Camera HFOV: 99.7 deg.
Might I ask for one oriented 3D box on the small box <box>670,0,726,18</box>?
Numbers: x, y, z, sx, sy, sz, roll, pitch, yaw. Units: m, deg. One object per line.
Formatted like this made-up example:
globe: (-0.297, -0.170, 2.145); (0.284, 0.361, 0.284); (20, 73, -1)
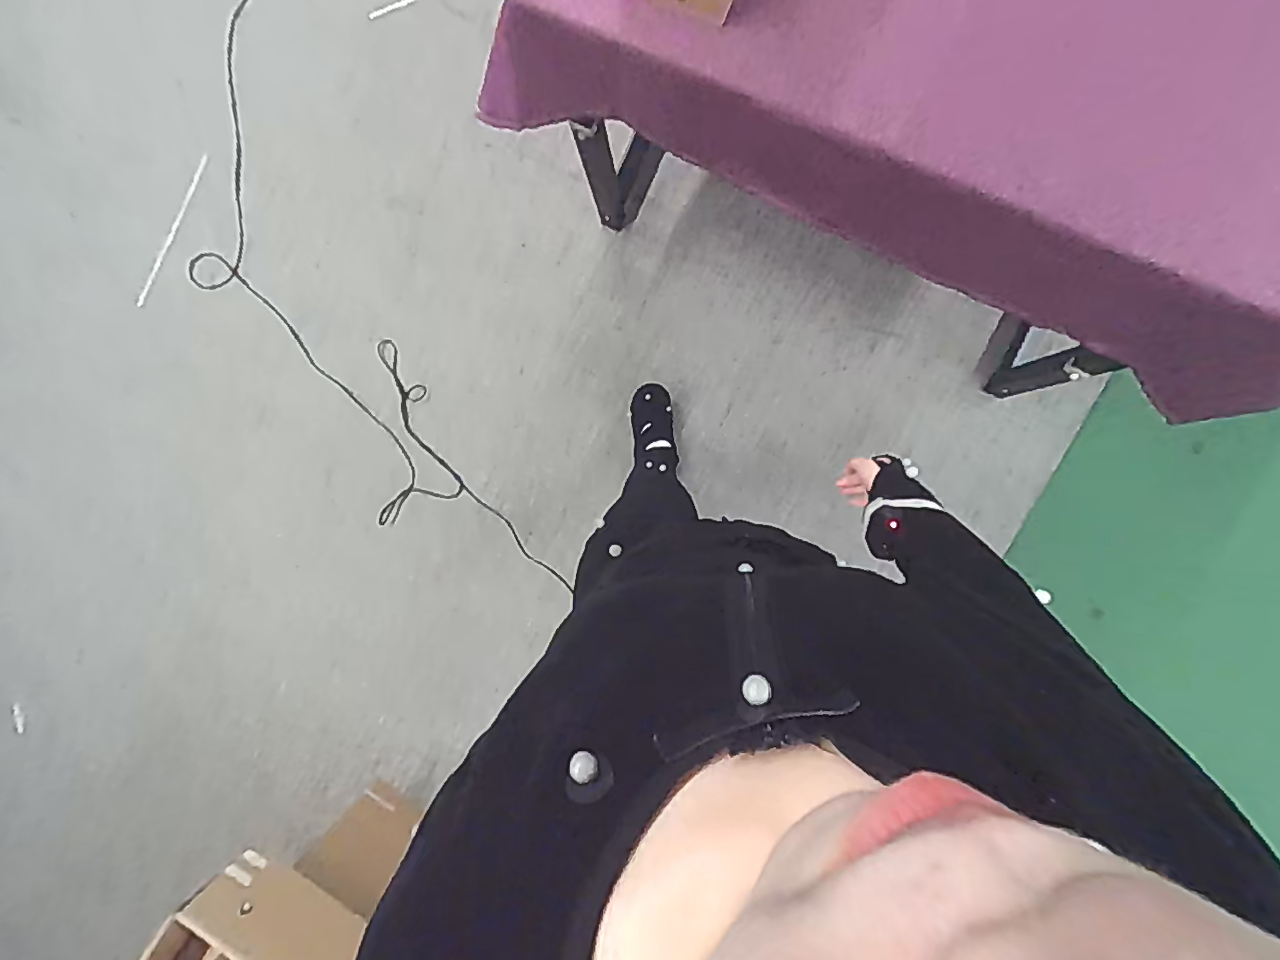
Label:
small box: (0.063, -0.743, 0.674); (0.168, 0.176, 0.179); (24, 92, 2)
